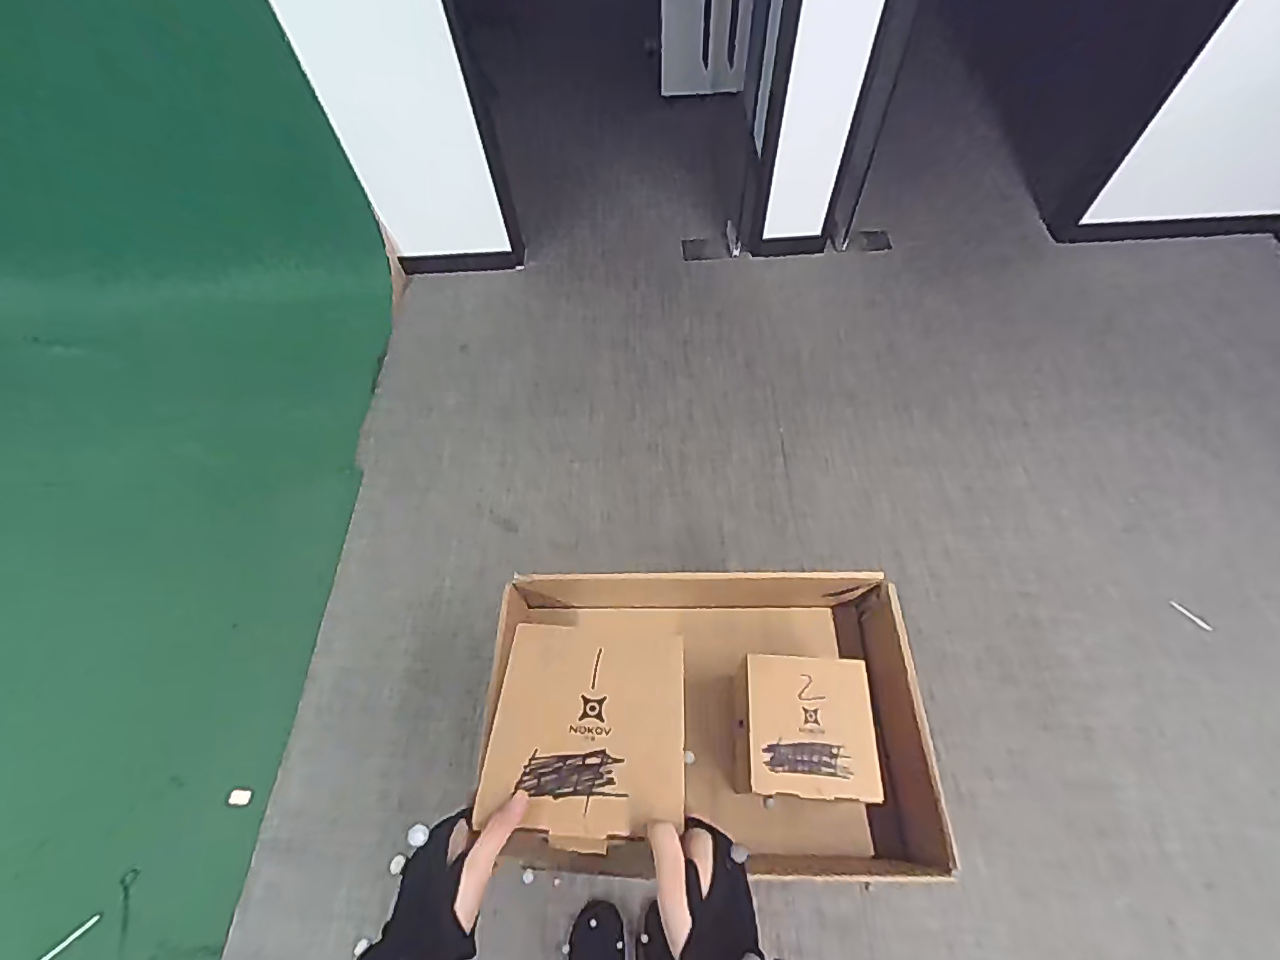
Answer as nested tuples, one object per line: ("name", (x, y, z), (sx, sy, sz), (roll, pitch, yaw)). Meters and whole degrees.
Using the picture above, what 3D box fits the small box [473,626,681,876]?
("small box", (-0.047, 0.269, 0.536), (0.168, 0.176, 0.179), (4, 43, 1))
